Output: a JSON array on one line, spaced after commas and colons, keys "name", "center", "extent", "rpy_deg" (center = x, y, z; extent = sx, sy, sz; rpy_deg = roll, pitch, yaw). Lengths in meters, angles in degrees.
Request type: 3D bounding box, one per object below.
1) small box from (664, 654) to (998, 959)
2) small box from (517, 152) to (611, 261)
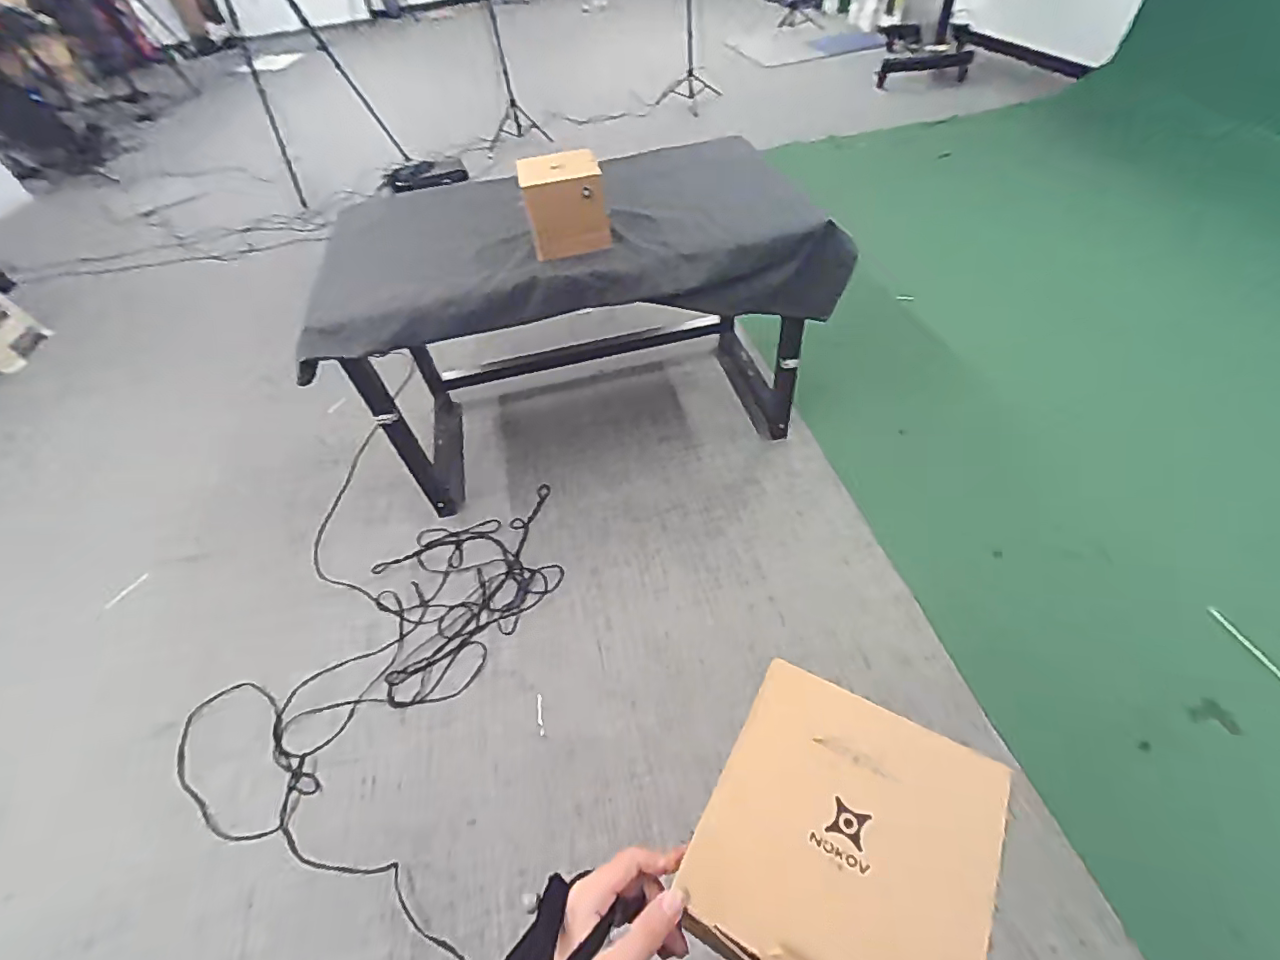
[{"name": "small box", "center": [0.132, 0.272, 0.401], "extent": [0.168, 0.176, 0.179], "rpy_deg": [20, 51, 23]}, {"name": "small box", "center": [-0.173, -0.629, 1.249], "extent": [0.179, 0.176, 0.168], "rpy_deg": [-12, 49, -4]}]
